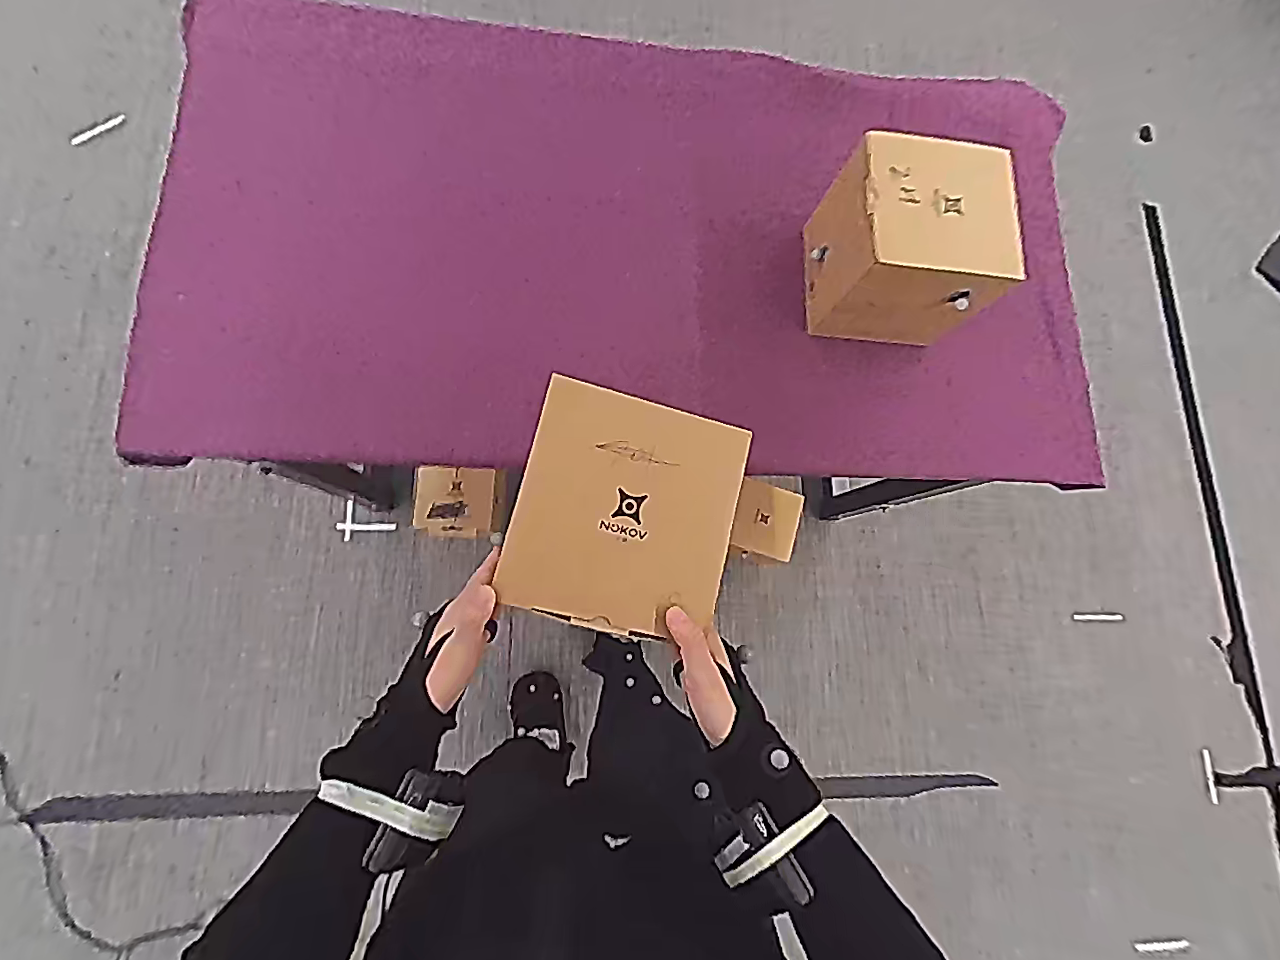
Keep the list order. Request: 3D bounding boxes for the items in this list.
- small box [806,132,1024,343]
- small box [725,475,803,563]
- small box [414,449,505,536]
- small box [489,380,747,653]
[{"bbox_3d":[0.324,-0.283,0.668,0.179,0.176,0.168,3,78,-6],"label":"small box"},{"bbox_3d":[0.273,0.102,1.338,0.179,0.176,0.168,18,78,-3],"label":"small box"},{"bbox_3d":[-0.410,0.037,1.257,0.168,0.176,0.179,3,78,-8],"label":"small box"},{"bbox_3d":[-0.026,0.037,0.484,0.168,0.176,0.179,15,80,-10],"label":"small box"}]
